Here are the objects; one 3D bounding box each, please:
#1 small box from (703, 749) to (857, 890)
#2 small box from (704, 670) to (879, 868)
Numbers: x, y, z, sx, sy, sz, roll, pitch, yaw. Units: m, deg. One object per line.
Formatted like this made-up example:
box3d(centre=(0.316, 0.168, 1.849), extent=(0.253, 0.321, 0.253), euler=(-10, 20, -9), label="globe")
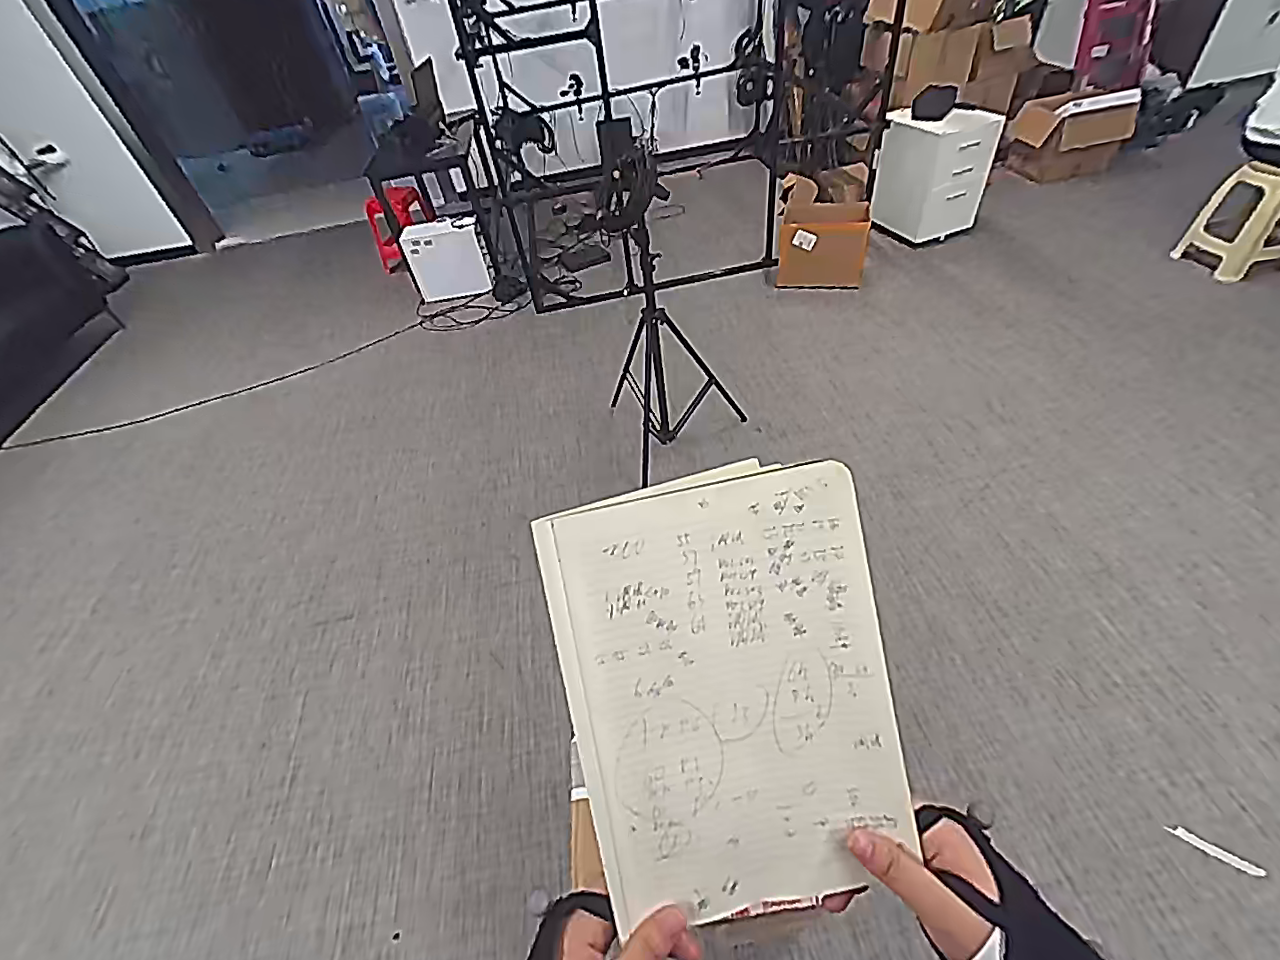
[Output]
box3d(centre=(0.200, 0.502, 0.828), extent=(0.179, 0.176, 0.168), euler=(-12, 46, -4), label="small box")
box3d(centre=(0.182, 0.382, 0.717), extent=(0.168, 0.176, 0.179), euler=(-10, 46, -3), label="small box")
